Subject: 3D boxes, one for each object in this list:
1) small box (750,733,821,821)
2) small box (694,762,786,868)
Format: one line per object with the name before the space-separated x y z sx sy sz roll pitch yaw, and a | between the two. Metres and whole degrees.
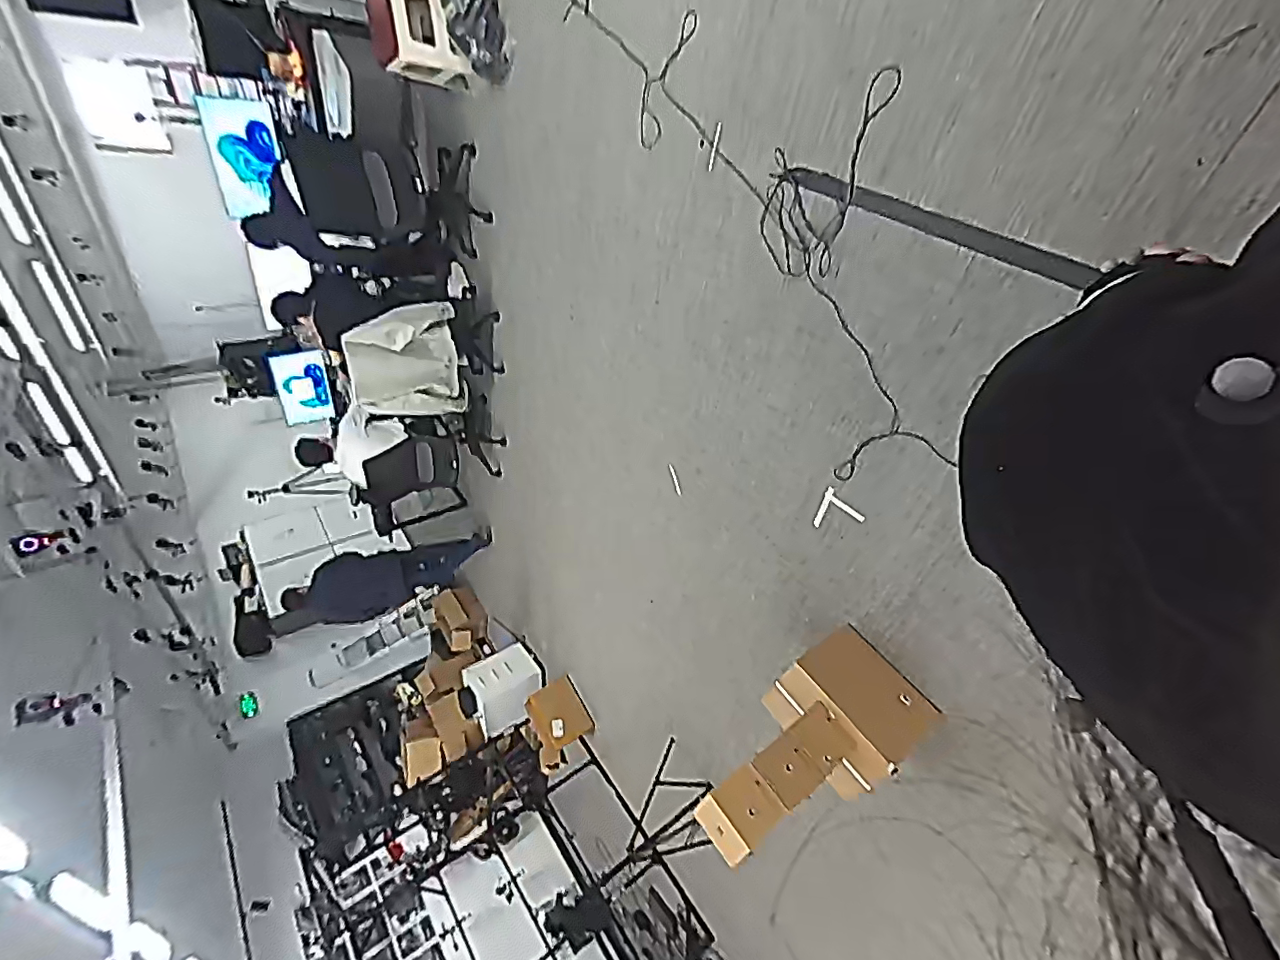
small box | 0.414 0.898 1.622 0.168 0.176 0.179 47 140 30
small box | 0.286 0.942 1.531 0.168 0.176 0.179 45 140 31
